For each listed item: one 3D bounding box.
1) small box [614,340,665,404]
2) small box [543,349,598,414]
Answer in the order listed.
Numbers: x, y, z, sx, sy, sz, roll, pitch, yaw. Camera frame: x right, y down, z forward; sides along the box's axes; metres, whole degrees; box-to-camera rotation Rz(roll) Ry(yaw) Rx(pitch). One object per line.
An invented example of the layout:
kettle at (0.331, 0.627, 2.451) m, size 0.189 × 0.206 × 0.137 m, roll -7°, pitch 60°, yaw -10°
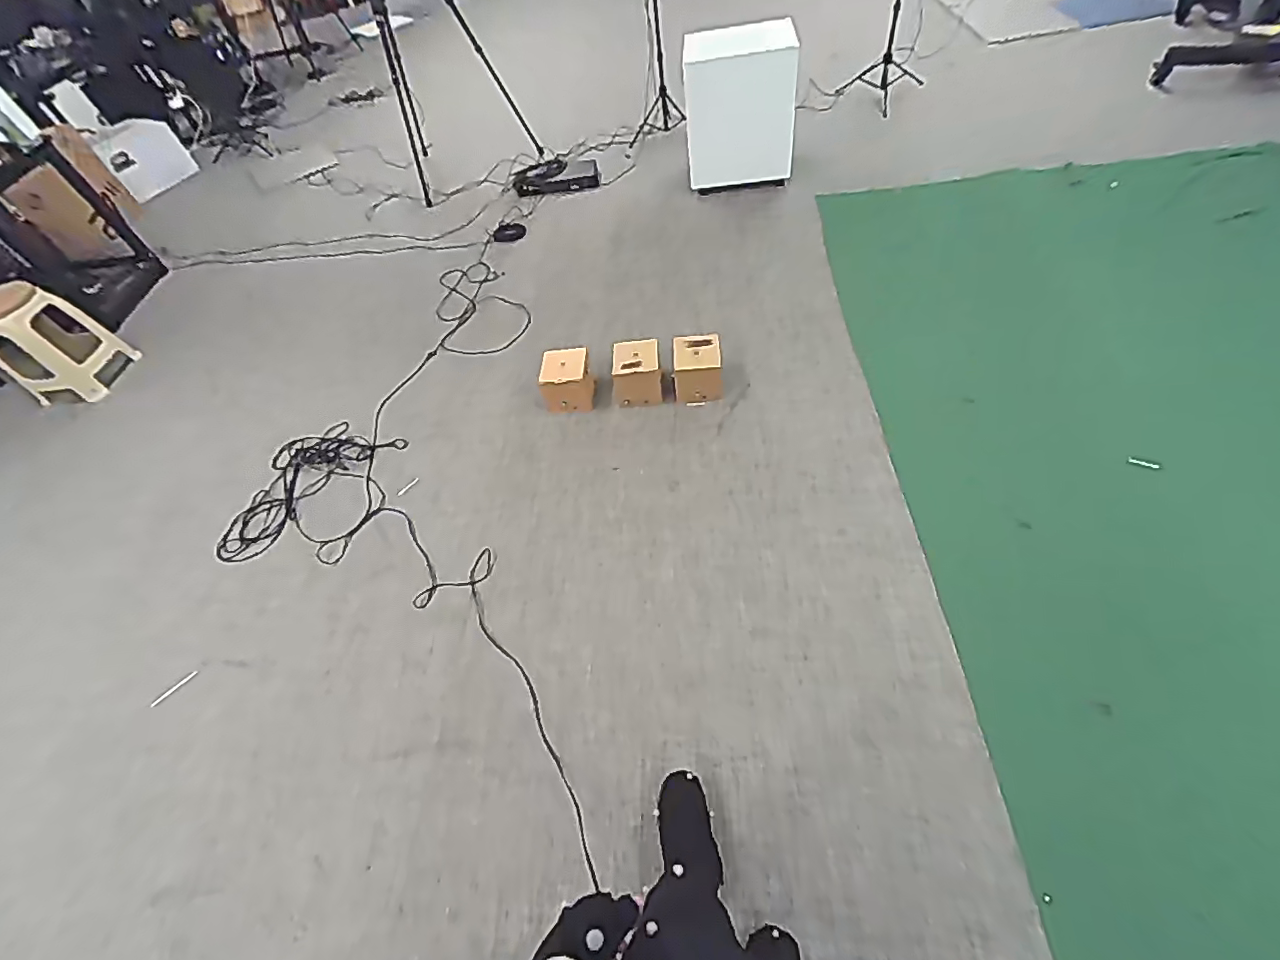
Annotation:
small box at (0.002, -0.399, 2.033) m, size 0.168 × 0.176 × 0.179 m, roll -4°, pitch 52°, yaw 8°
small box at (-0.261, -0.376, 2.068) m, size 0.168 × 0.176 × 0.179 m, roll -4°, pitch 53°, yaw 8°
